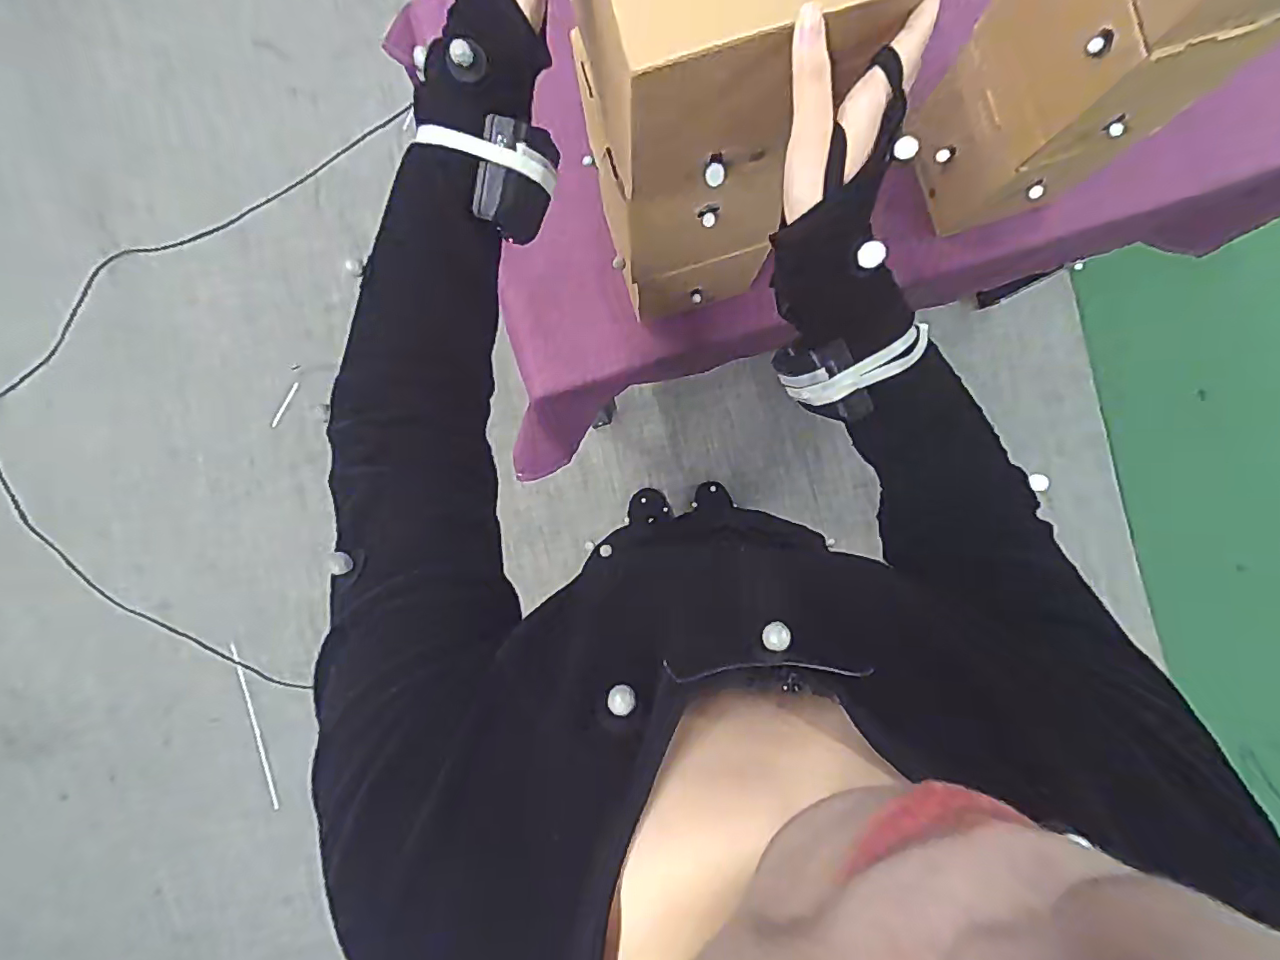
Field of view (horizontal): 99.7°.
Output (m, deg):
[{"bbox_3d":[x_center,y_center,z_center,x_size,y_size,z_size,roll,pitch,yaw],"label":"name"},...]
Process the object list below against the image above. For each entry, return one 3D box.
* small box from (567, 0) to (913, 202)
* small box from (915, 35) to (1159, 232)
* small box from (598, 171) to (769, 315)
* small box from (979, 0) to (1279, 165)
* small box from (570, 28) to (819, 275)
[{"bbox_3d":[0.043,-0.320,0.350,0.168,0.176,0.179,-17,95,0],"label":"small box"},{"bbox_3d":[0.480,-0.449,0.690,0.179,0.176,0.168,-18,90,2],"label":"small box"},{"bbox_3d":[0.050,-0.328,0.697,0.168,0.176,0.179,-17,89,0],"label":"small box"},{"bbox_3d":[0.472,-0.454,0.527,0.168,0.176,0.179,-16,90,1],"label":"small box"},{"bbox_3d":[0.047,-0.327,0.532,0.179,0.176,0.168,-17,90,0],"label":"small box"}]
